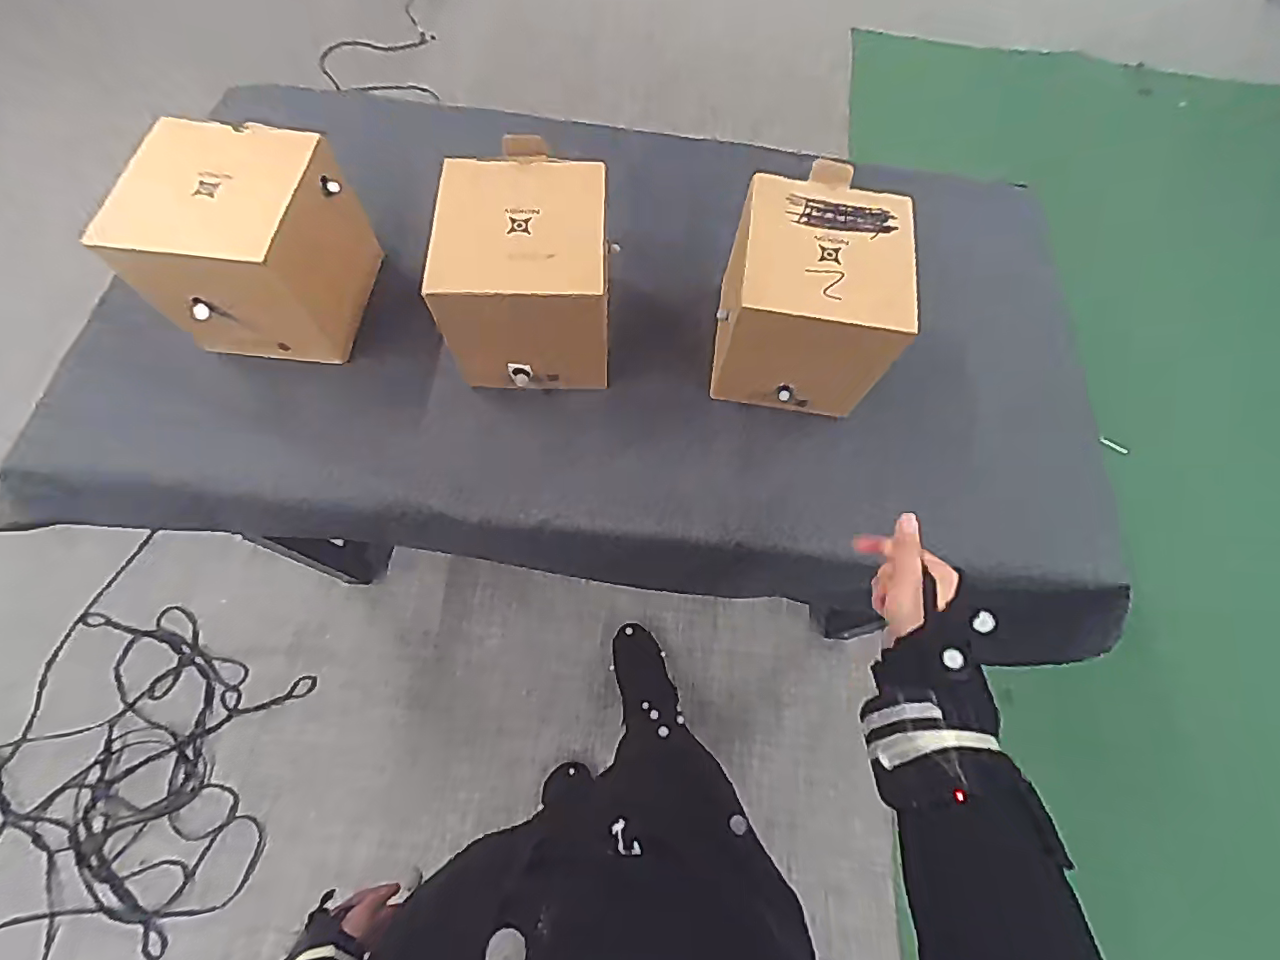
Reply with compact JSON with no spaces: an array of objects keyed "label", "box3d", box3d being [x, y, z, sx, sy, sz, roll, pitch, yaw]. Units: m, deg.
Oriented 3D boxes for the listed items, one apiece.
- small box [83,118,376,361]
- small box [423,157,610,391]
[{"label":"small box","box3d":[-0.416,-0.250,0.591,0.168,0.176,0.179,5,66,-1]},{"label":"small box","box3d":[-0.119,-0.217,0.594,0.168,0.176,0.179,-1,68,-2]}]
